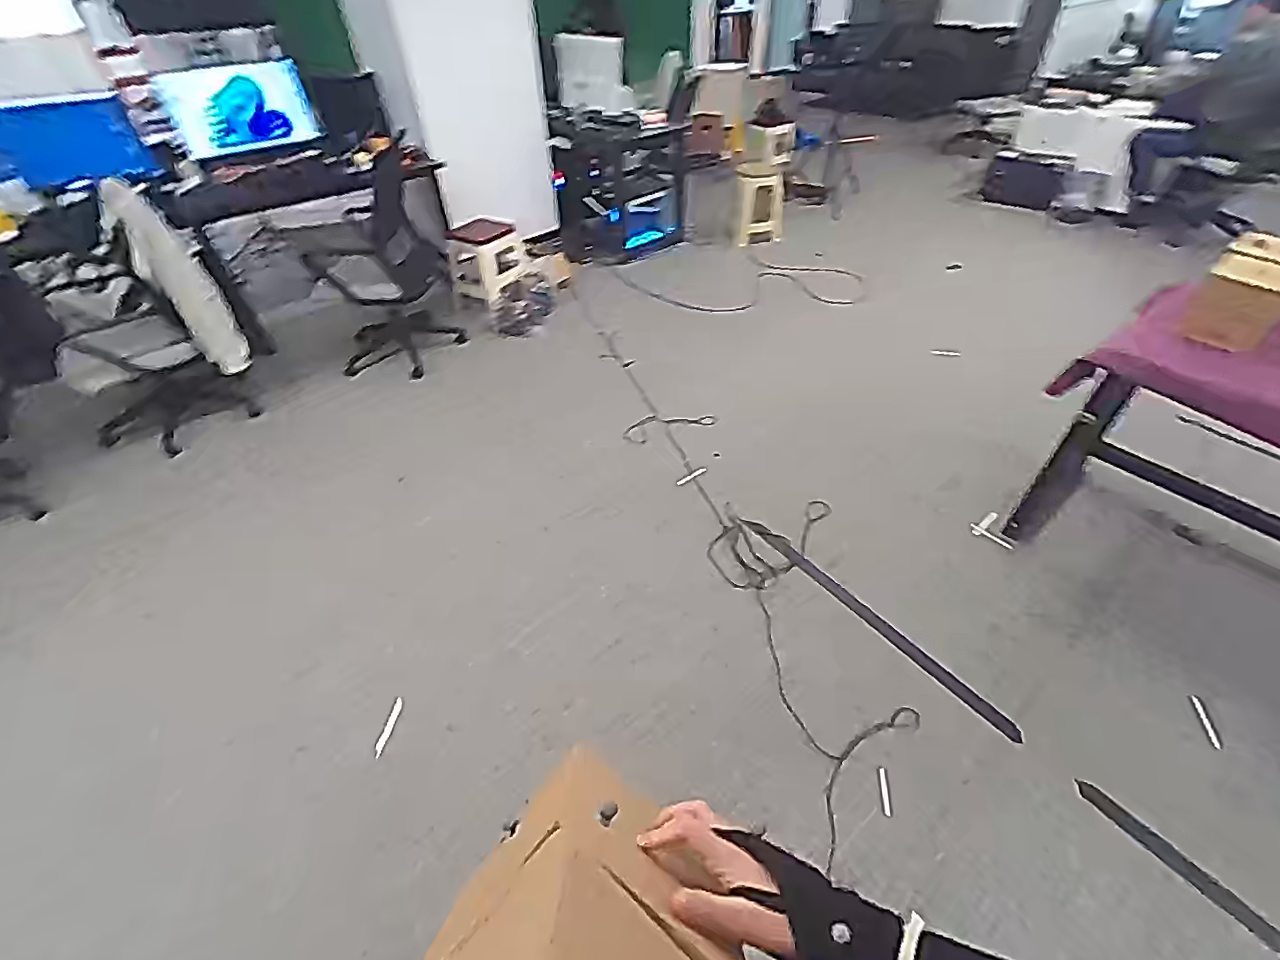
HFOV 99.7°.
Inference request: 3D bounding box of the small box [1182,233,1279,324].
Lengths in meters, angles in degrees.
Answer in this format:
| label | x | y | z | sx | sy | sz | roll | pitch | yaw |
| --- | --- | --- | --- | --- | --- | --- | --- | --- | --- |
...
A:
| label | x | y | z | sx | sy | sz | roll | pitch | yaw |
| --- | --- | --- | --- | --- | --- | --- | --- | --- | --- |
| small box | 1.667 | -0.553 | 1.488 | 0.168 | 0.176 | 0.179 | -30 | 51 | -23 |
